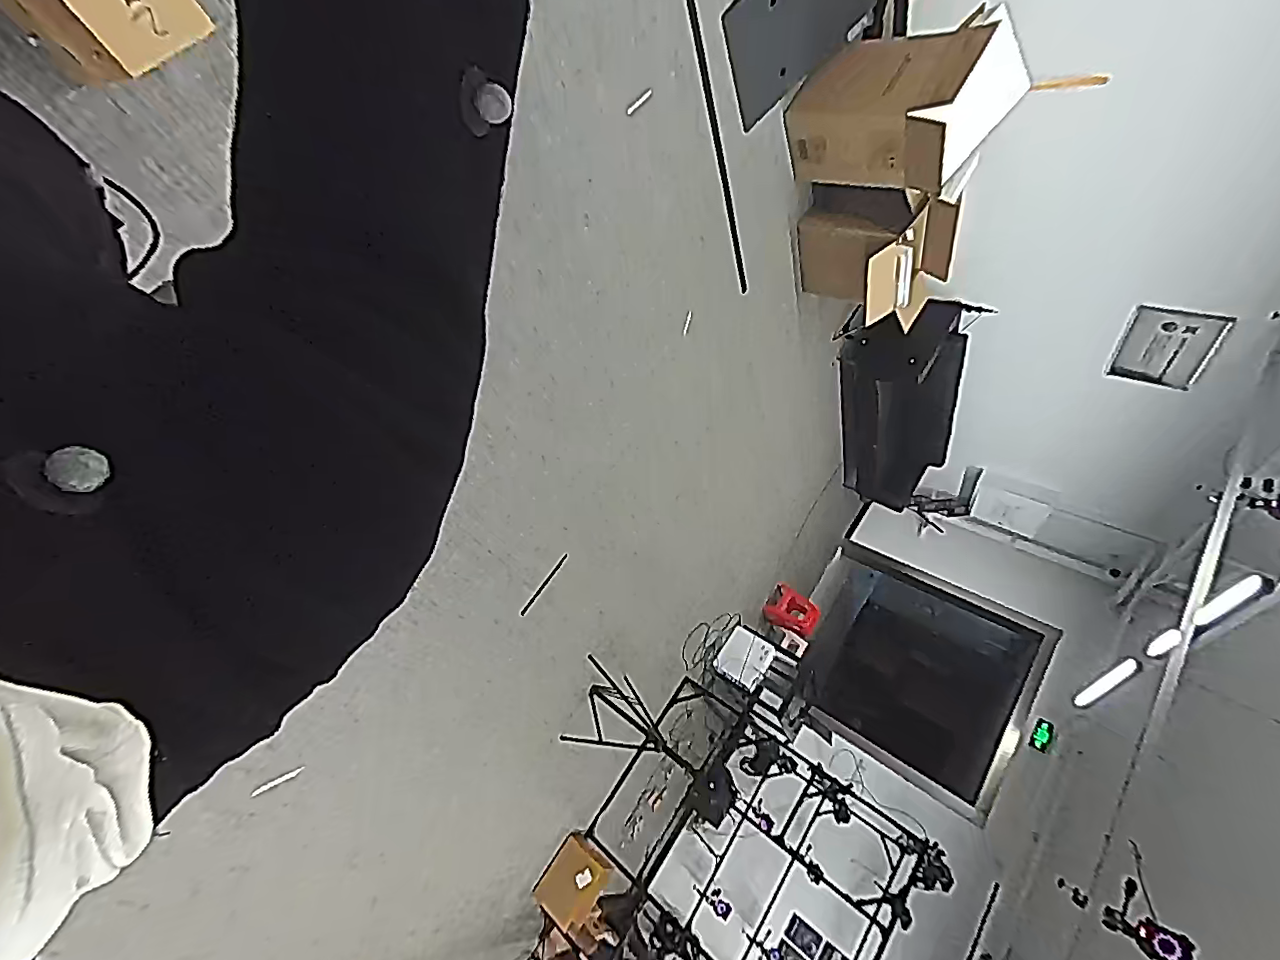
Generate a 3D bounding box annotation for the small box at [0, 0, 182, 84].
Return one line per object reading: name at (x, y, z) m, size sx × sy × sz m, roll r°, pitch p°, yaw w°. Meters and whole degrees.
small box at (-0.978, -0.835, 0.952) m, size 0.179 × 0.176 × 0.168 m, roll -53°, pitch 145°, yaw -16°
